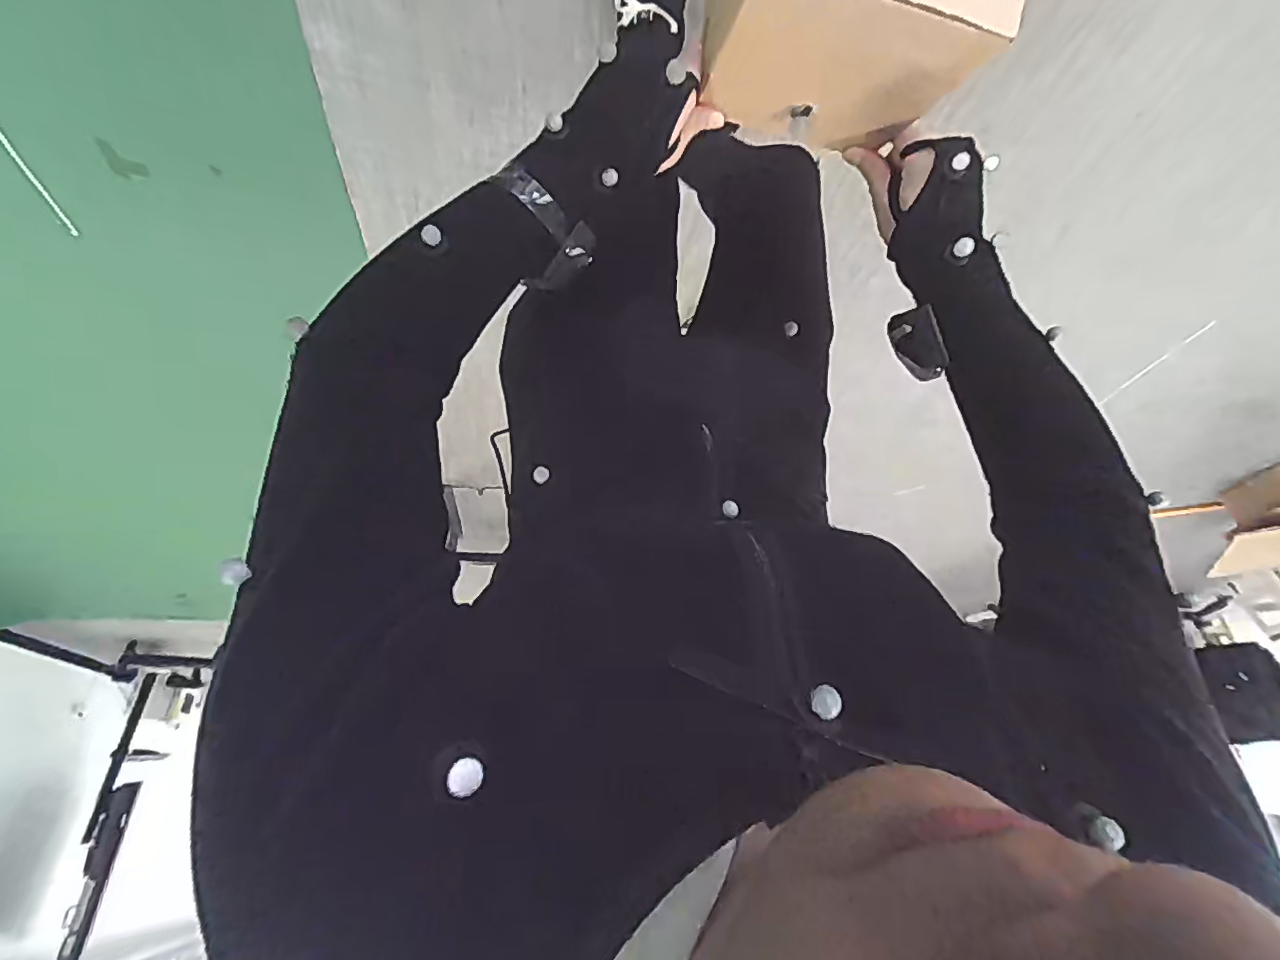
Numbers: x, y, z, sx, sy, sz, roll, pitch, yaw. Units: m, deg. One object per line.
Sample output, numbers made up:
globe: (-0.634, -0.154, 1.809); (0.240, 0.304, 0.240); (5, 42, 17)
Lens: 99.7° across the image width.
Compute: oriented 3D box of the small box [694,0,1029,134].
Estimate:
small box: (0.155, -0.386, 0.389); (0.179, 0.168, 0.176); (8, -174, -11)
